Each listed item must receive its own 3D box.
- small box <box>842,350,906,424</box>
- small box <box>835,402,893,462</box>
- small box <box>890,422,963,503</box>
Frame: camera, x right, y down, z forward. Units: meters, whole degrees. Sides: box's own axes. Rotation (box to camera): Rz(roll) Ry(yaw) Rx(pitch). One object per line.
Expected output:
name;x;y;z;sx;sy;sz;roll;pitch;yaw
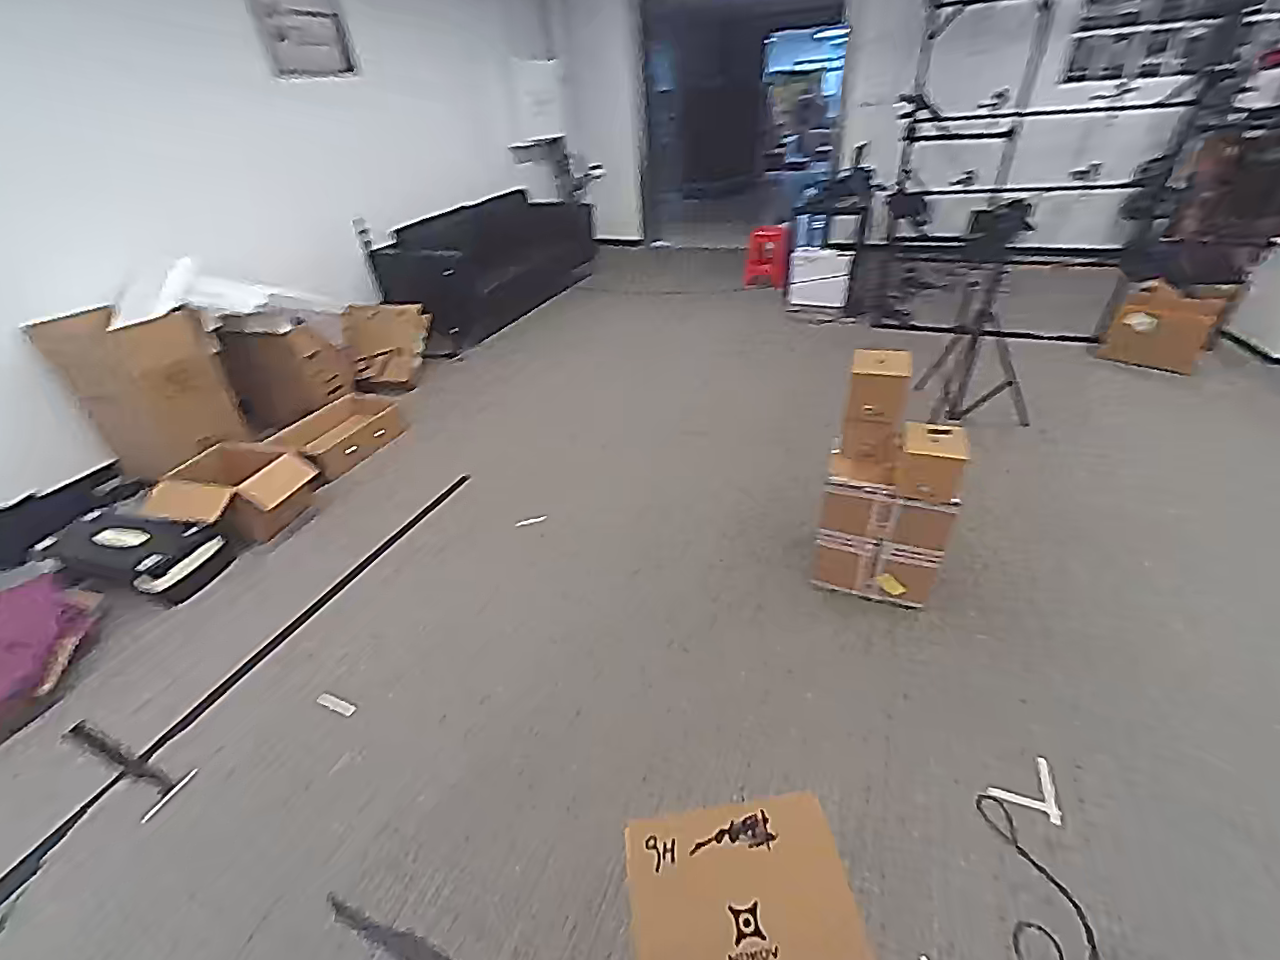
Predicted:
small box;0.750;-0.302;1.739;0.168;0.176;0.179;8;40;21
small box;0.768;-0.185;1.853;0.168;0.176;0.179;9;40;21
small box;0.874;-0.056;1.665;0.168;0.176;0.179;9;40;18
